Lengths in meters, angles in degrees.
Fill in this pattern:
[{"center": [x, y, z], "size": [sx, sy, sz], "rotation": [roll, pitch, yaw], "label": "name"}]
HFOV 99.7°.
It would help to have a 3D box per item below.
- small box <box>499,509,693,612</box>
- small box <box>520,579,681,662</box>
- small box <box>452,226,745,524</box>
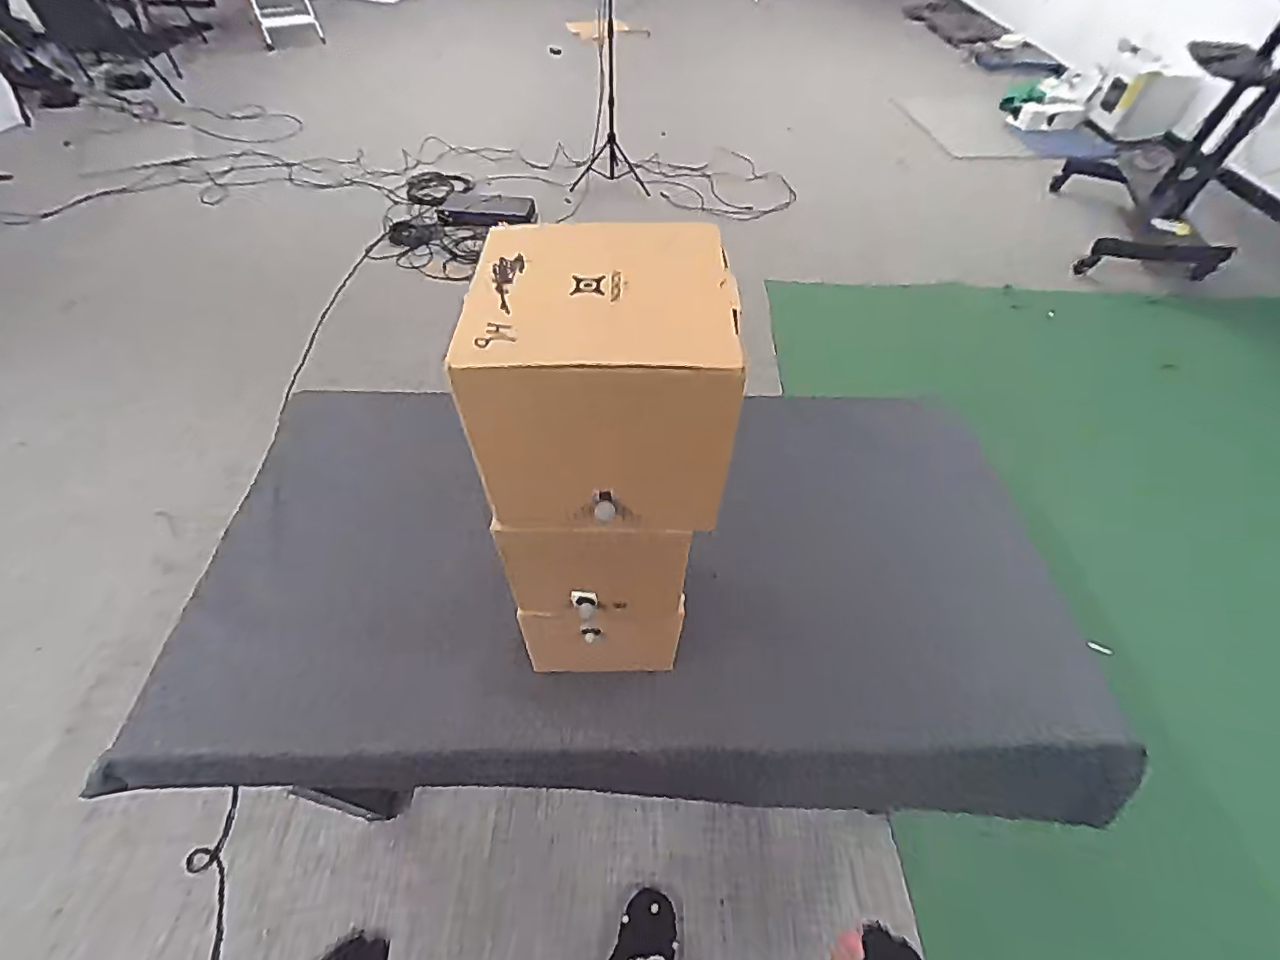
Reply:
[{"center": [-0.038, 0.020, 0.561], "size": [0.168, 0.176, 0.179], "rotation": [0, 53, -1], "label": "small box"}, {"center": [-0.045, 0.122, 0.686], "size": [0.179, 0.176, 0.168], "rotation": [0, 52, -3], "label": "small box"}, {"center": [-0.026, -0.077, 0.430], "size": [0.179, 0.176, 0.168], "rotation": [1, 51, -1], "label": "small box"}]
